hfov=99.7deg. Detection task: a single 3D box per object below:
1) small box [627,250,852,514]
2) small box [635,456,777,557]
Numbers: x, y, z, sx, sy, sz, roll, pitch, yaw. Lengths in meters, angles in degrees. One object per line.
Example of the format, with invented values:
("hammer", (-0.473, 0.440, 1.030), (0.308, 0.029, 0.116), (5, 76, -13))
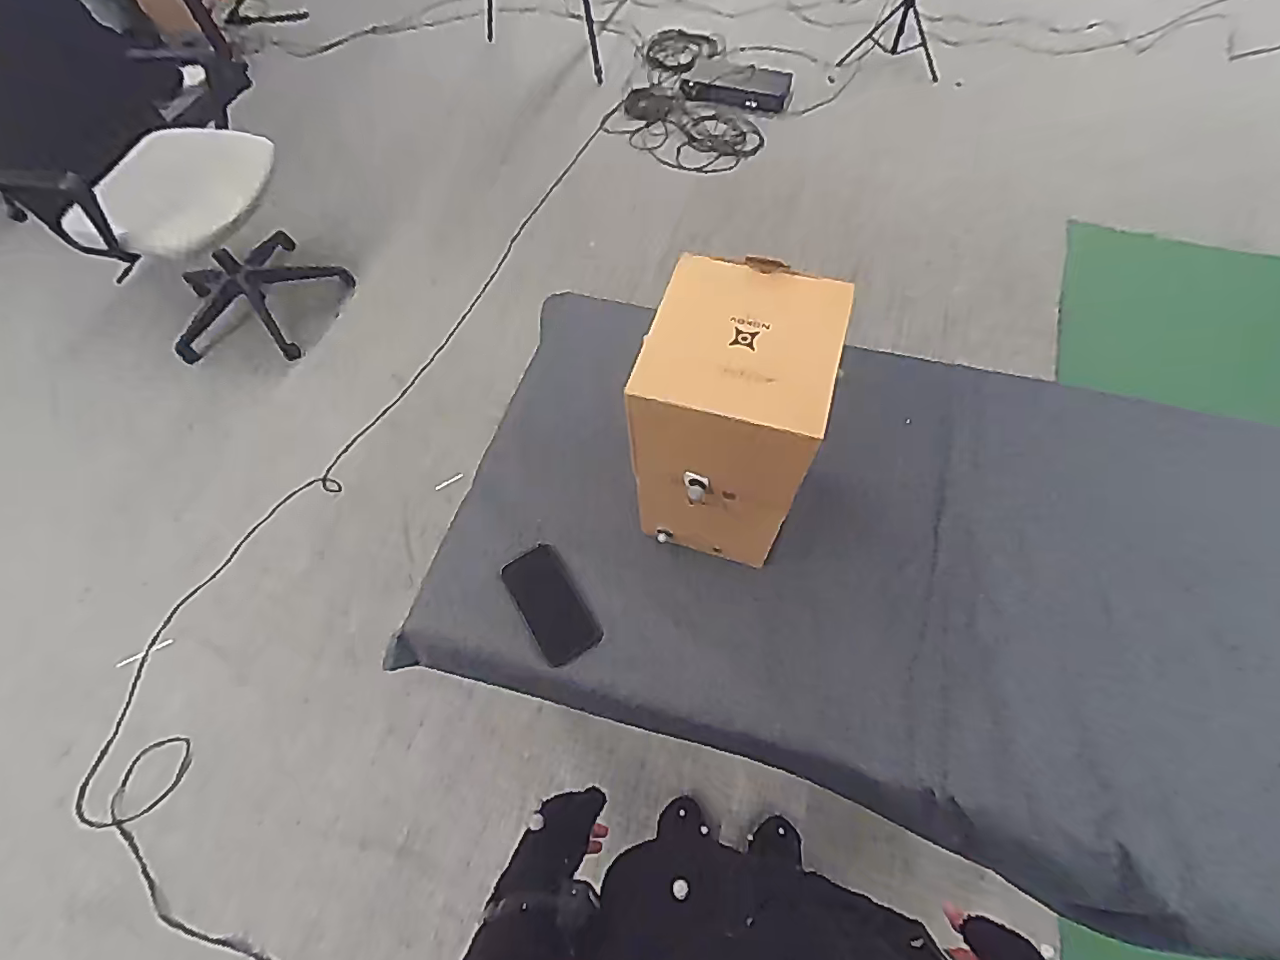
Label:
("small box", (0.094, -0.091, 0.540), (0.168, 0.176, 0.179), (15, 65, 11))
("small box", (0.102, -0.022, 0.687), (0.168, 0.176, 0.179), (16, 64, 11))
